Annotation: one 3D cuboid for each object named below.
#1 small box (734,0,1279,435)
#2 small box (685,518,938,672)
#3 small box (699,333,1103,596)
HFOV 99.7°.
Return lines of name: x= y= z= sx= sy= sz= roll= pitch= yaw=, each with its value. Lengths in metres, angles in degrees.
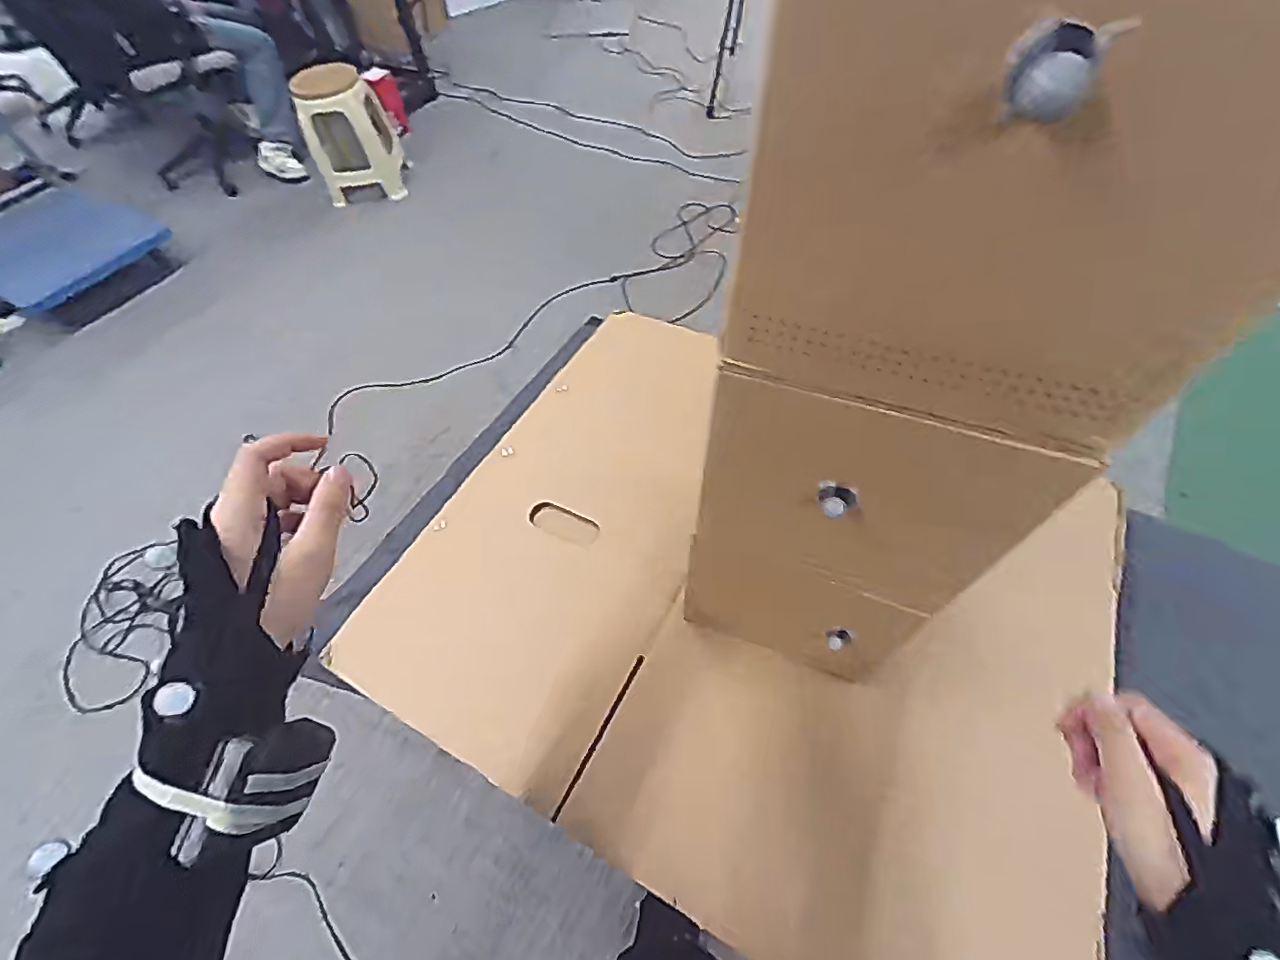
small box: x=0.151 y=-0.142 z=0.228 sx=0.179 sy=0.176 sz=0.168 roll=16 pitch=56 yaw=13
small box: x=0.149 y=0.054 z=0.490 sx=0.179 sy=0.176 sz=0.168 roll=17 pitch=55 yaw=14
small box: x=0.148 y=-0.044 z=0.358 sx=0.179 sy=0.176 sz=0.168 roll=17 pitch=56 yaw=13
